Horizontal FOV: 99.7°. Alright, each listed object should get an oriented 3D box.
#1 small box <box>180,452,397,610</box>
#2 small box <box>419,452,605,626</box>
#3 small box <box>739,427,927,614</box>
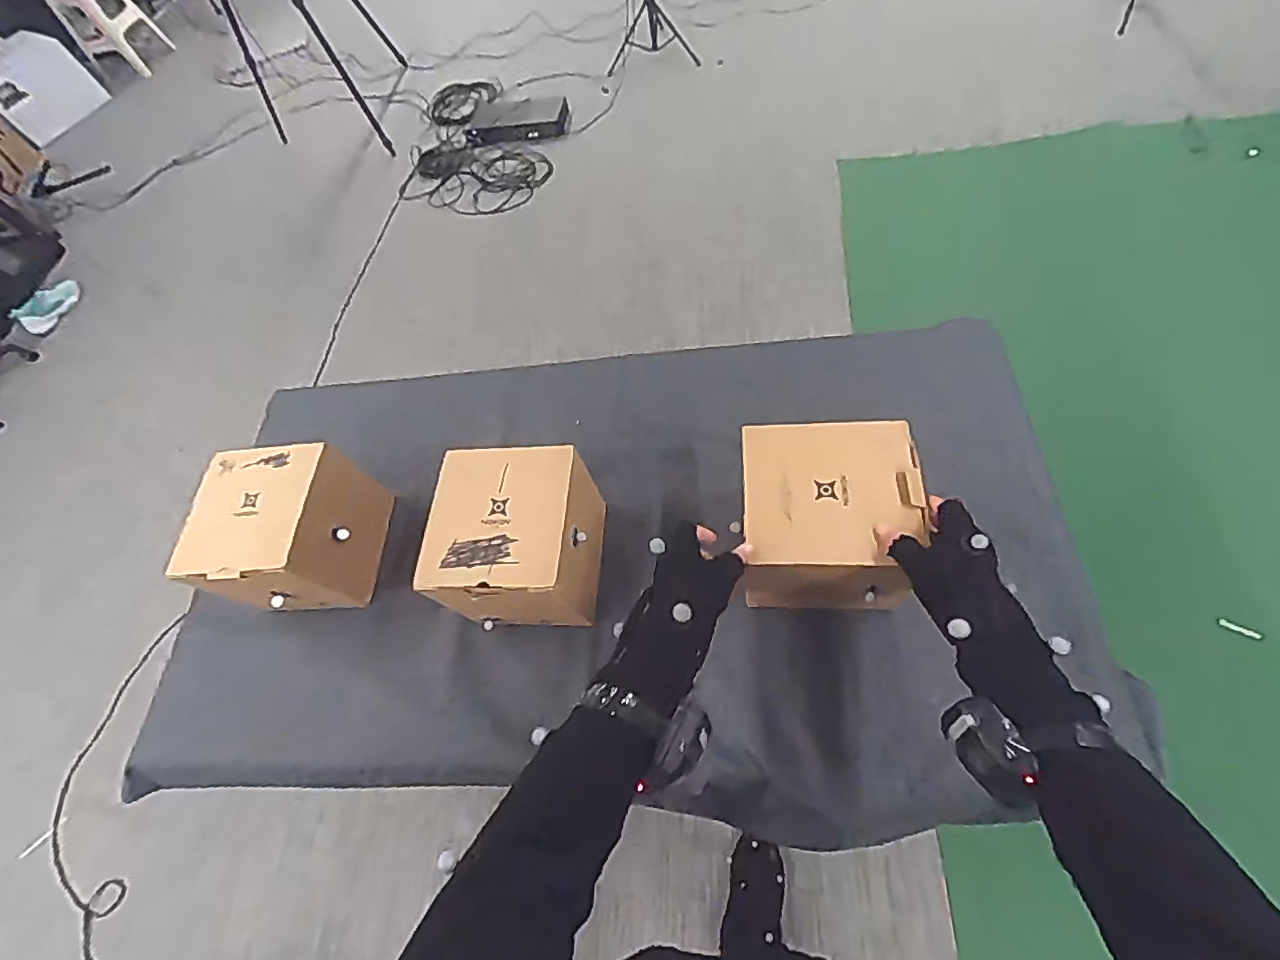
[{"bbox_3d":[-0.471,0.081,0.757,0.168,0.176,0.179,-5,62,9],"label":"small box"},{"bbox_3d":[-0.146,0.083,0.690,0.168,0.176,0.179,-2,61,11],"label":"small box"},{"bbox_3d":[0.209,0.055,0.634,0.179,0.176,0.168,-3,61,12],"label":"small box"}]
